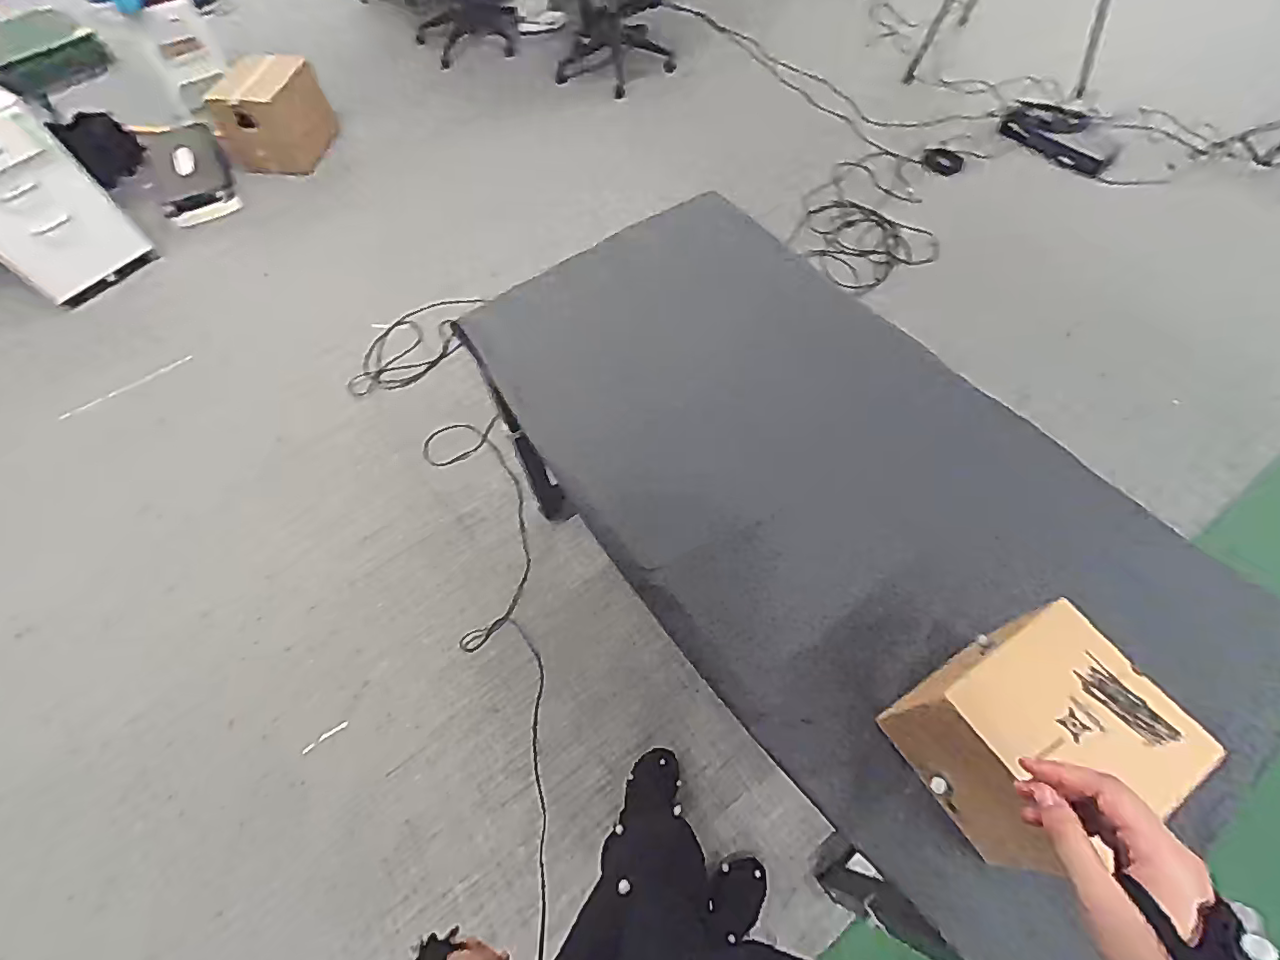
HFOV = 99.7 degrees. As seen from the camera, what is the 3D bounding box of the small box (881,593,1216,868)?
[{"bbox_3d":[0.384,0.247,0.546,0.179,0.176,0.168,-28,62,-15],"label":"small box"}]
